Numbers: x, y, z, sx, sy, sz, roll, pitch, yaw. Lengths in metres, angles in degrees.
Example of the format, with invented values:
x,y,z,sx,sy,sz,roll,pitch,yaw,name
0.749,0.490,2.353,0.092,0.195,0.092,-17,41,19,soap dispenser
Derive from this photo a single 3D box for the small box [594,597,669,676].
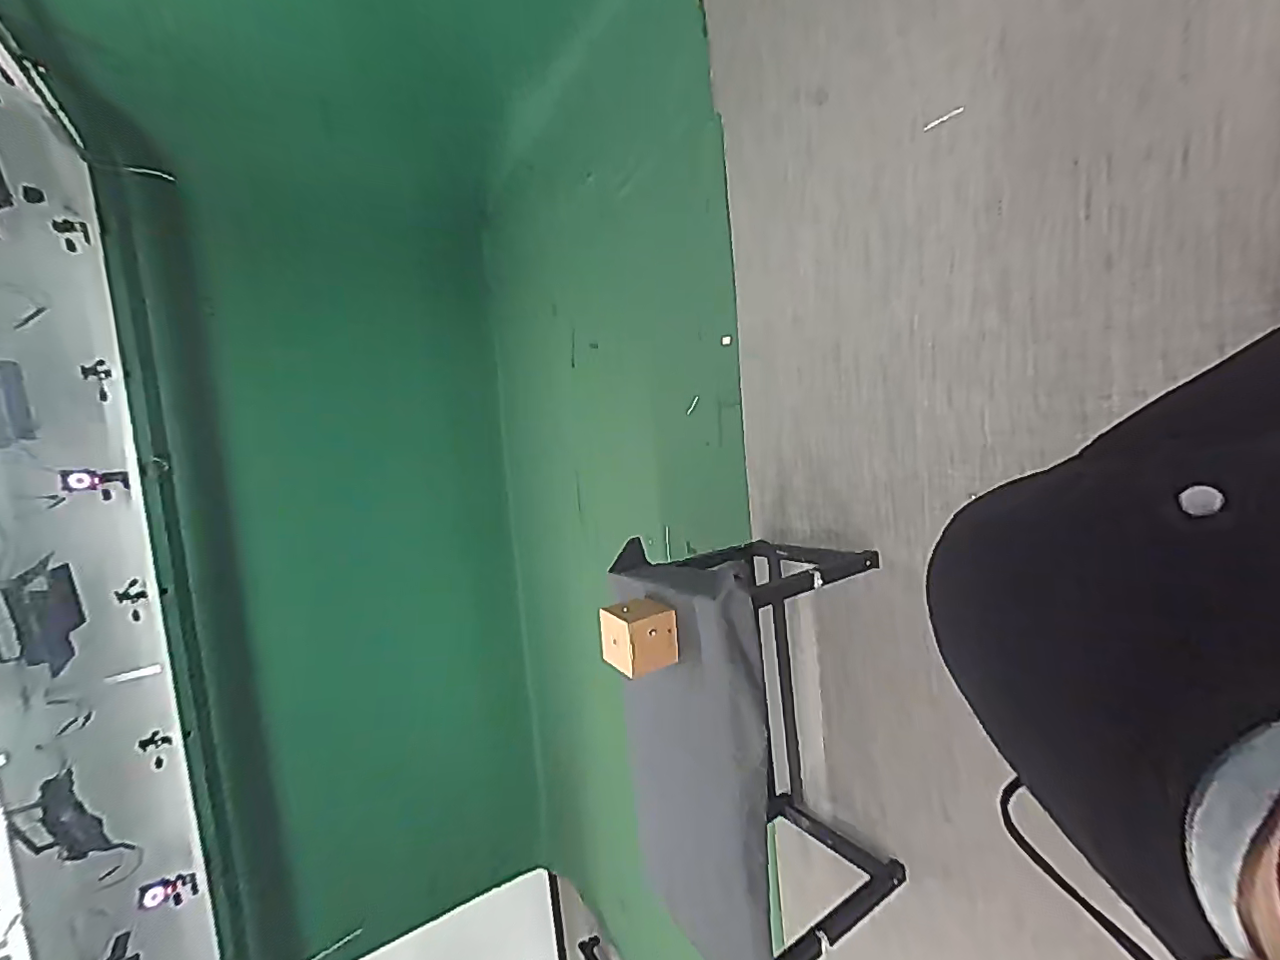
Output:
x,y,z,sx,sy,sz,roll,pitch,yaw,name
-0.021,0.466,1.637,0.179,0.176,0.168,5,100,58,small box
